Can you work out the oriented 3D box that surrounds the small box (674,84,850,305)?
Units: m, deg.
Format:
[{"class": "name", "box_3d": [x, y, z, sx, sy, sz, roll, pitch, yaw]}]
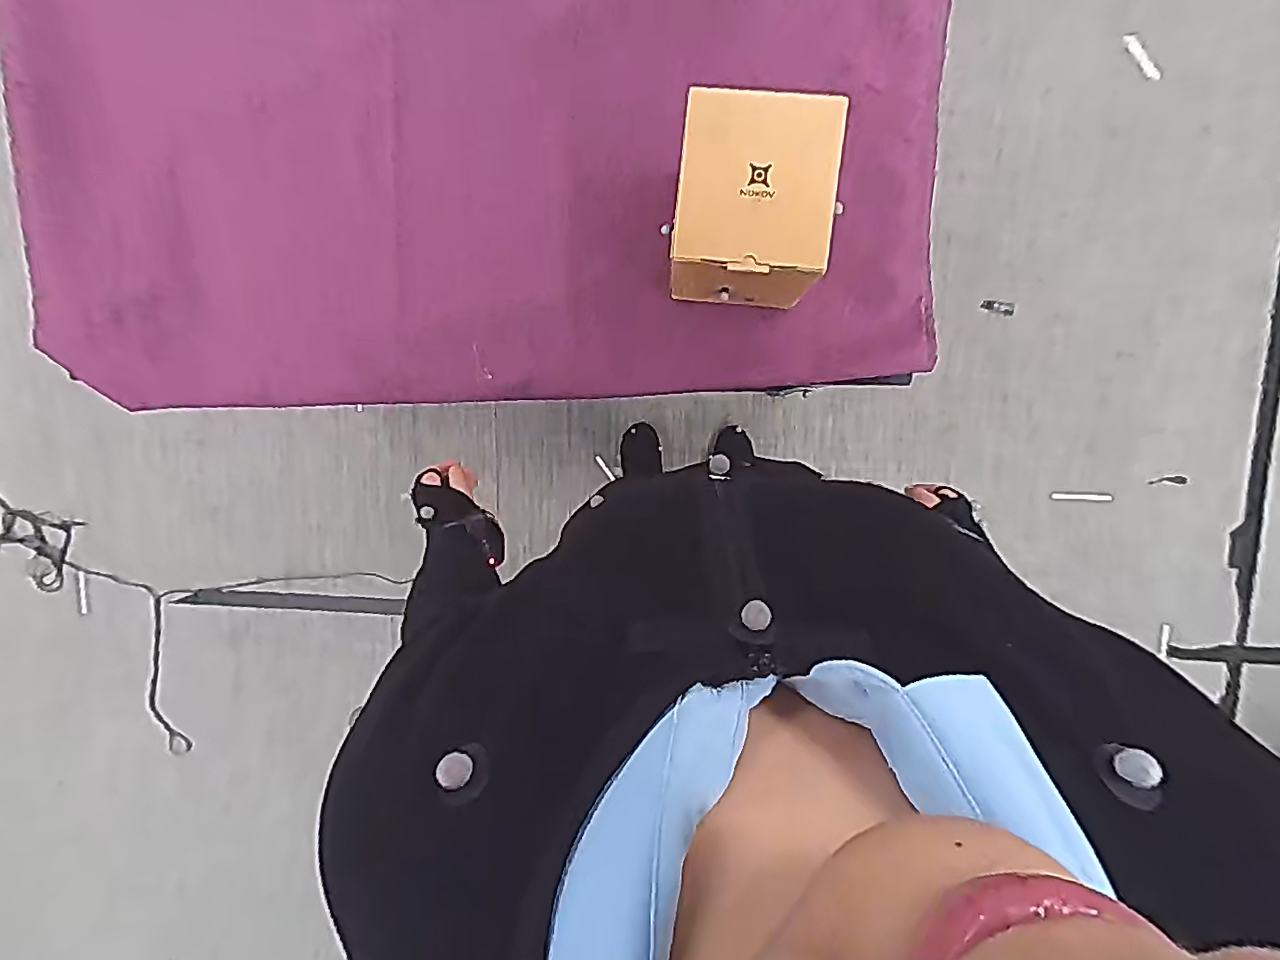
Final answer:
[{"class": "small box", "box_3d": [0.130, -0.321, 0.640, 0.168, 0.176, 0.179, 5, 96, 3]}]
